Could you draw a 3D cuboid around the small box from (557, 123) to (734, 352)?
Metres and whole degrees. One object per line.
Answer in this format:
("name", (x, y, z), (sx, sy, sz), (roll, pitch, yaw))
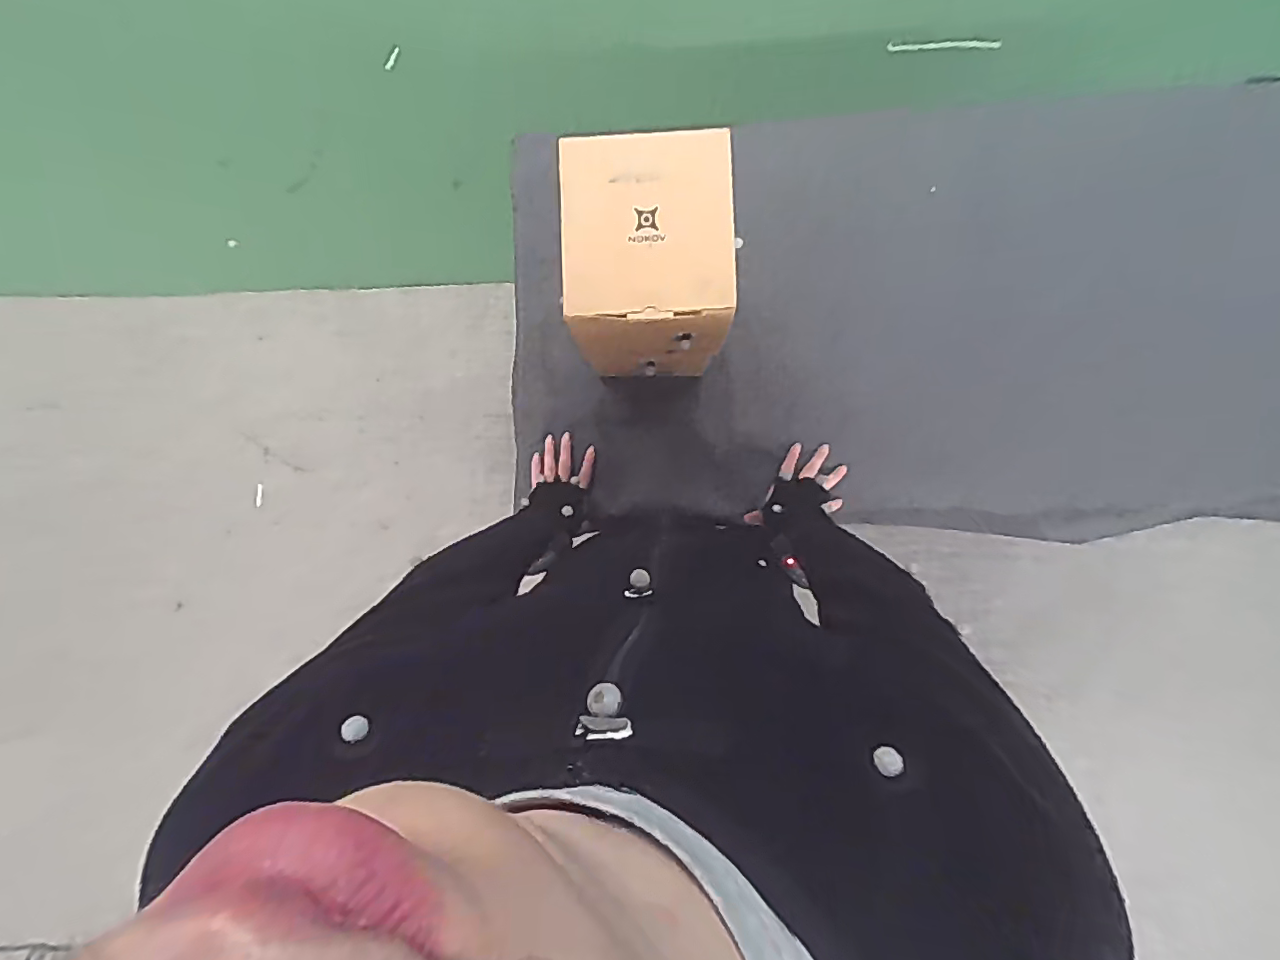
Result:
("small box", (0.008, -0.242, 0.585), (0.168, 0.176, 0.179), (-2, 87, 1))

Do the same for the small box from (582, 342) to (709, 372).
("small box", (0.014, -0.250, 0.748), (0.168, 0.176, 0.179), (0, 88, 2))
